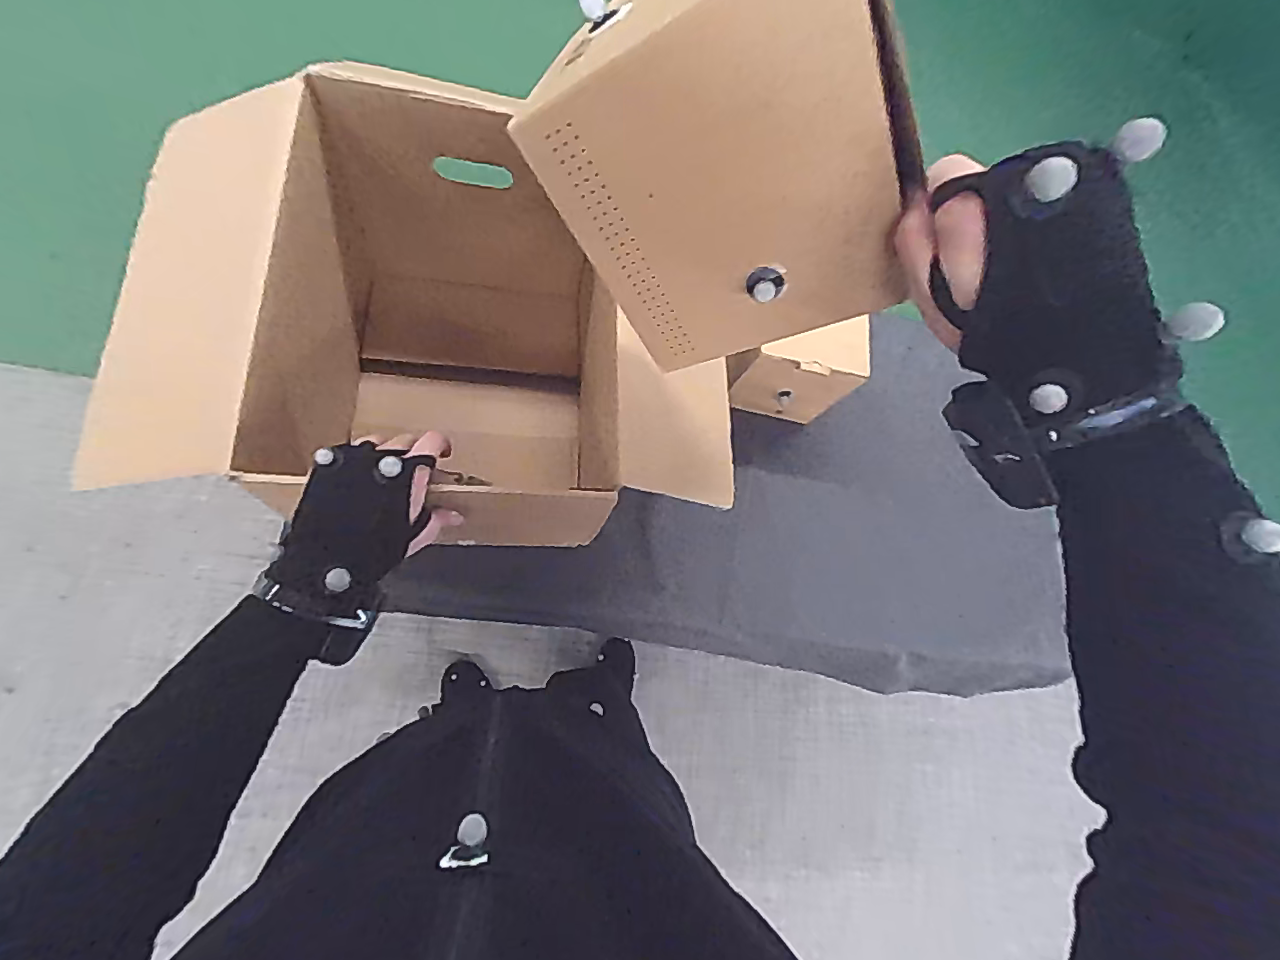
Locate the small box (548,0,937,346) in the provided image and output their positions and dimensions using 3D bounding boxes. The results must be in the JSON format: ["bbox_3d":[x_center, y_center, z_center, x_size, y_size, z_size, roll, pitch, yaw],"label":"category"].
[{"bbox_3d":[0.073,-0.206,0.341,0.179,0.176,0.168,49,41,-41],"label":"small box"}]

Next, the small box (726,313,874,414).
[{"bbox_3d":[0.243,-0.222,0.849,0.168,0.176,0.179,11,73,-11],"label":"small box"}]
